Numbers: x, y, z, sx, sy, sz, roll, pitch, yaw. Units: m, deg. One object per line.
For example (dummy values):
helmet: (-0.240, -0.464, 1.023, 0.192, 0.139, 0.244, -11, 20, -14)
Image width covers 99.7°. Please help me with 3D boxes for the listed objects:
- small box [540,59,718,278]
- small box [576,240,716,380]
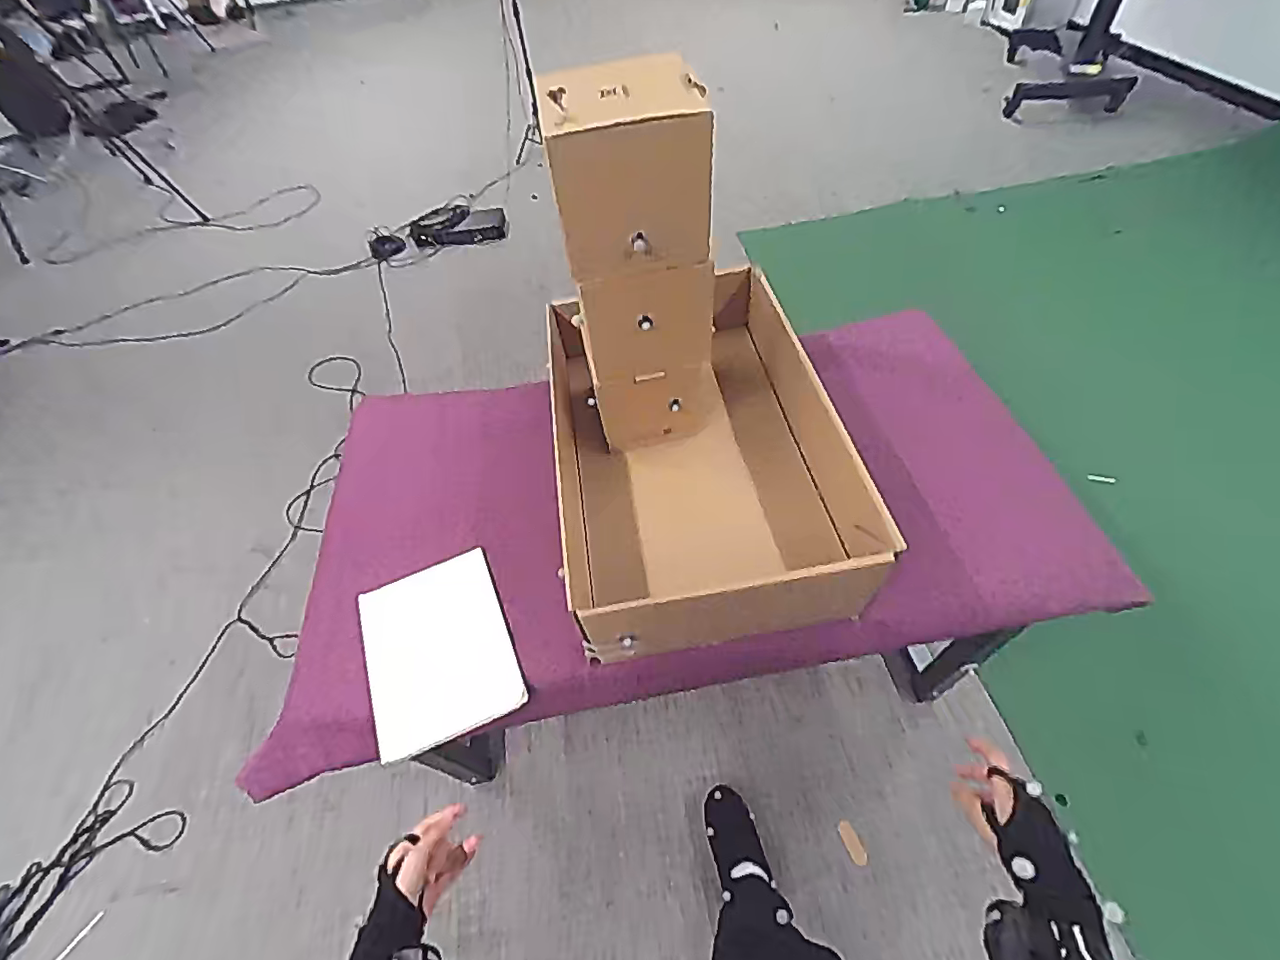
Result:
small box: (-0.015, -0.368, 0.649, 0.179, 0.176, 0.168, -10, 53, -3)
small box: (0.001, -0.270, 0.779, 0.179, 0.176, 0.168, -12, 54, -3)
